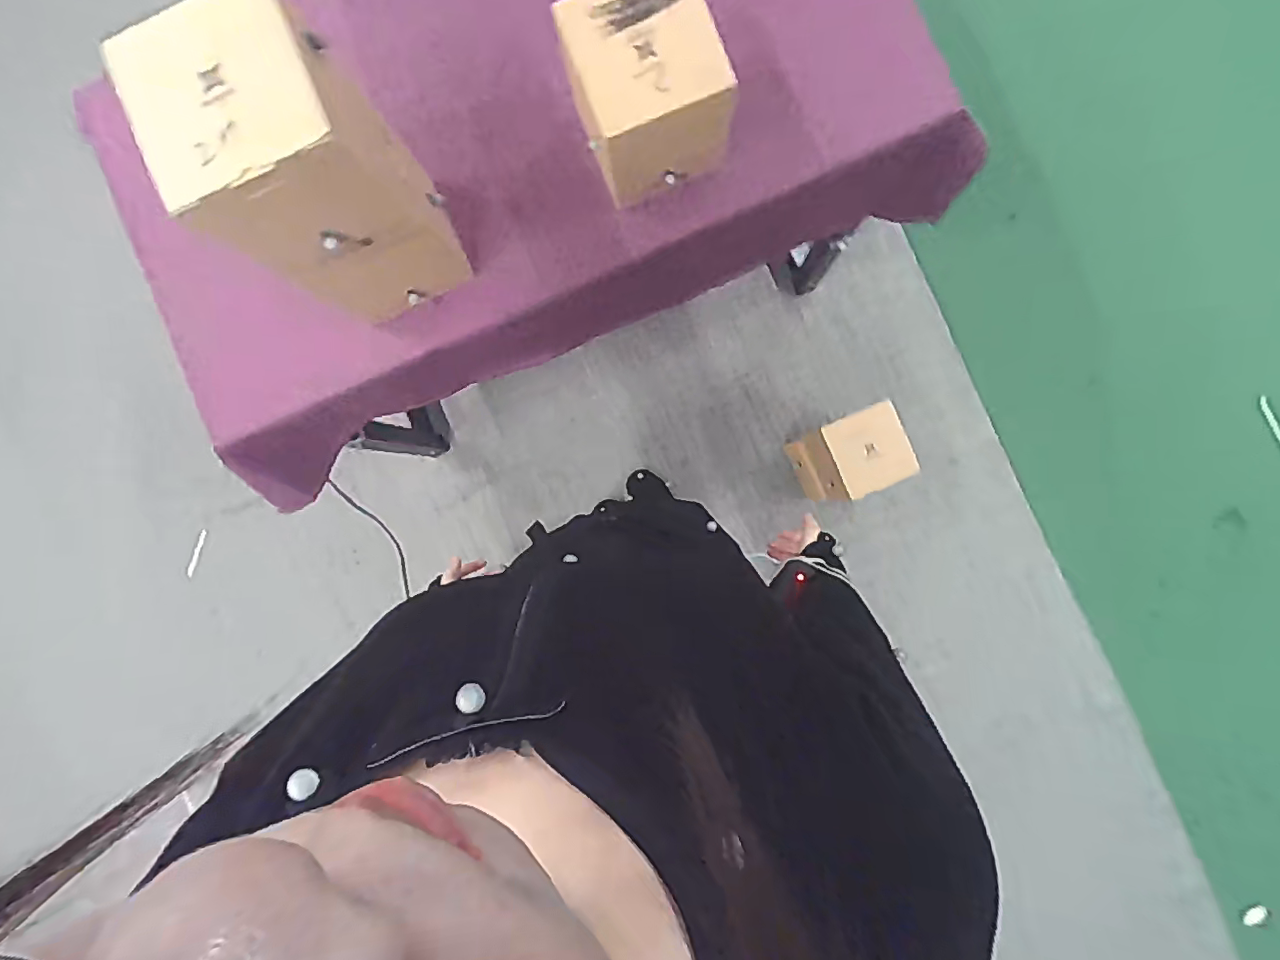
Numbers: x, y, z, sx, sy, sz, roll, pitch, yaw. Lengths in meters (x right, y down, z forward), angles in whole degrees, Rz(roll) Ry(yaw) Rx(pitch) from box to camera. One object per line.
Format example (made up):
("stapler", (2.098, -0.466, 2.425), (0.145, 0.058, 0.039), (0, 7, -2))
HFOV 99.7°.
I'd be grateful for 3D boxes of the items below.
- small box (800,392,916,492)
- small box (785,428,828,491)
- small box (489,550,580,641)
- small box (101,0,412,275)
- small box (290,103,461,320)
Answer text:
("small box", (0.495, -0.083, 1.251), (0.168, 0.176, 0.179), (-23, 88, 1))
("small box", (0.494, -0.079, 1.414), (0.179, 0.176, 0.168), (-26, 89, 2))
("small box", (-0.273, 0.303, 1.451), (0.168, 0.176, 0.179), (-23, 88, 3))
("small box", (-0.373, -0.348, 0.560), (0.168, 0.176, 0.179), (-24, 89, 3))
("small box", (-0.363, -0.343, 0.725), (0.179, 0.176, 0.168), (-25, 88, 2))
